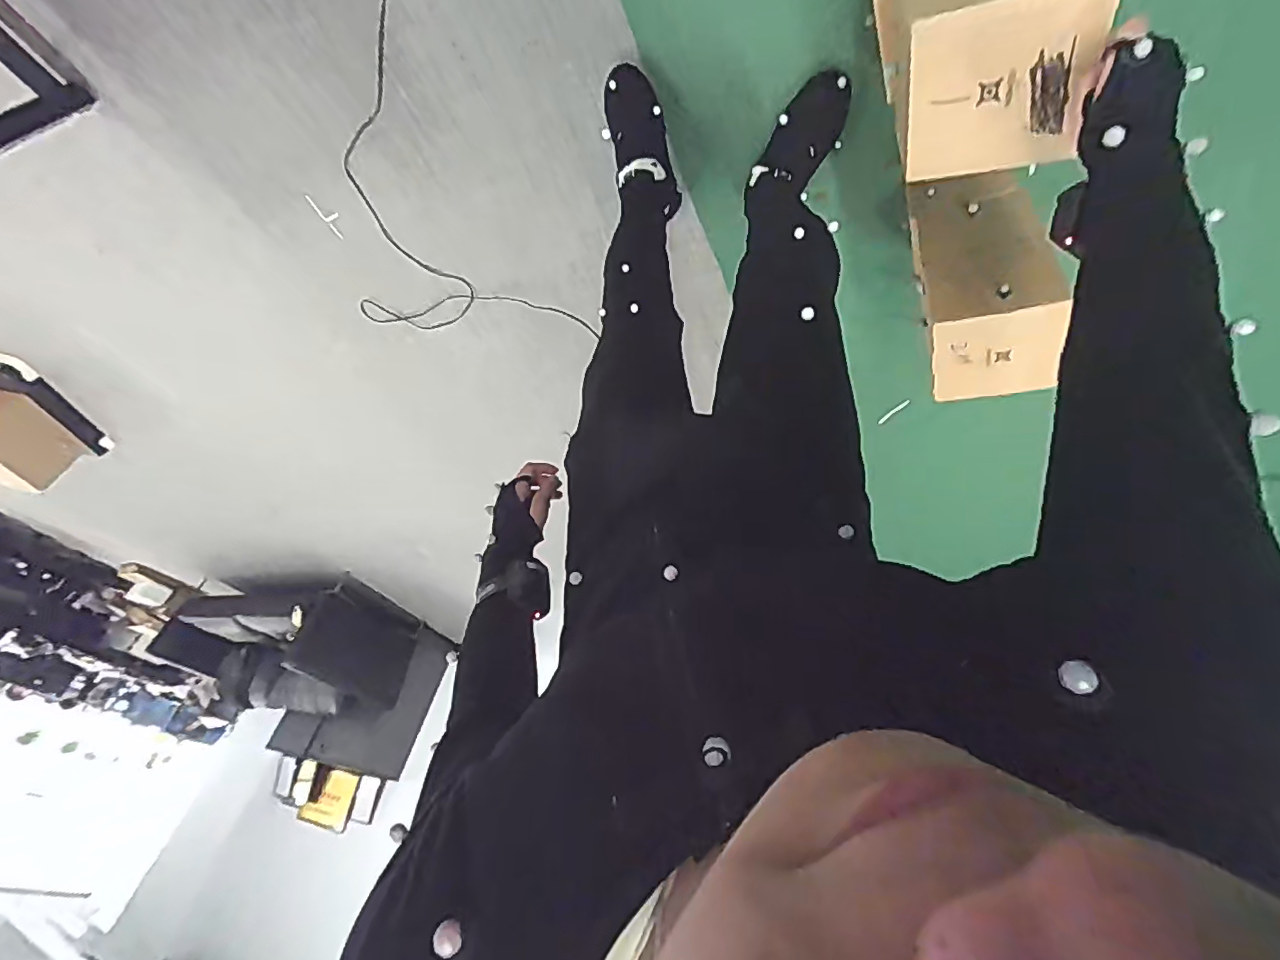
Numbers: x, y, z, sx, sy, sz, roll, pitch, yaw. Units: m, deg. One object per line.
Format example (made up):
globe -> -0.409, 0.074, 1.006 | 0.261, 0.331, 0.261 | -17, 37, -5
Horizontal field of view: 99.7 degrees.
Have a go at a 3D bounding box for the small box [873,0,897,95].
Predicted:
small box -> 0.457, -0.740, 0.825 | 0.179, 0.176, 0.168 | -9, 138, 29

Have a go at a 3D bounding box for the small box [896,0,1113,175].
small box -> 0.399, -0.491, 0.622 | 0.179, 0.176, 0.168 | -2, 141, 22

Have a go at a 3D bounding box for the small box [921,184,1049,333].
small box -> 0.603, -0.390, 0.966 | 0.179, 0.176, 0.168 | -4, 142, 28

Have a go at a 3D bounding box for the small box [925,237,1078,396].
small box -> 0.565, -0.261, 0.870 | 0.179, 0.176, 0.168 | -4, 141, 27
